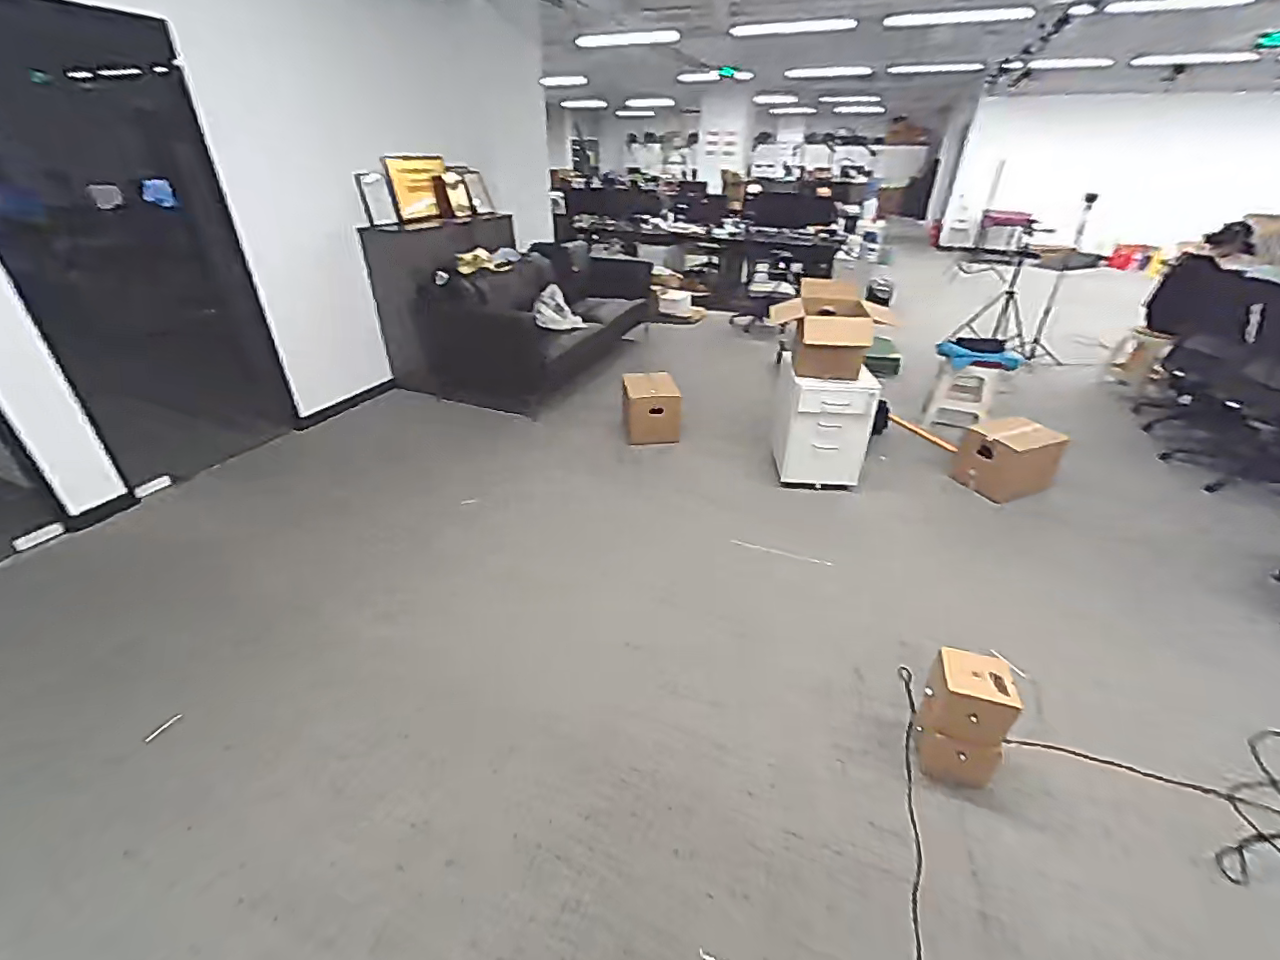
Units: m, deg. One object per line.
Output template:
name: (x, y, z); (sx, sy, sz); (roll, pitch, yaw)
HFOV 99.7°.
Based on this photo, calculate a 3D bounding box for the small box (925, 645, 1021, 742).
small box: (0.920, 0.598, 1.508); (0.179, 0.176, 0.168); (9, 31, 16)

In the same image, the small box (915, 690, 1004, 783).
small box: (0.917, 0.748, 1.575); (0.179, 0.176, 0.168); (8, 32, 13)
